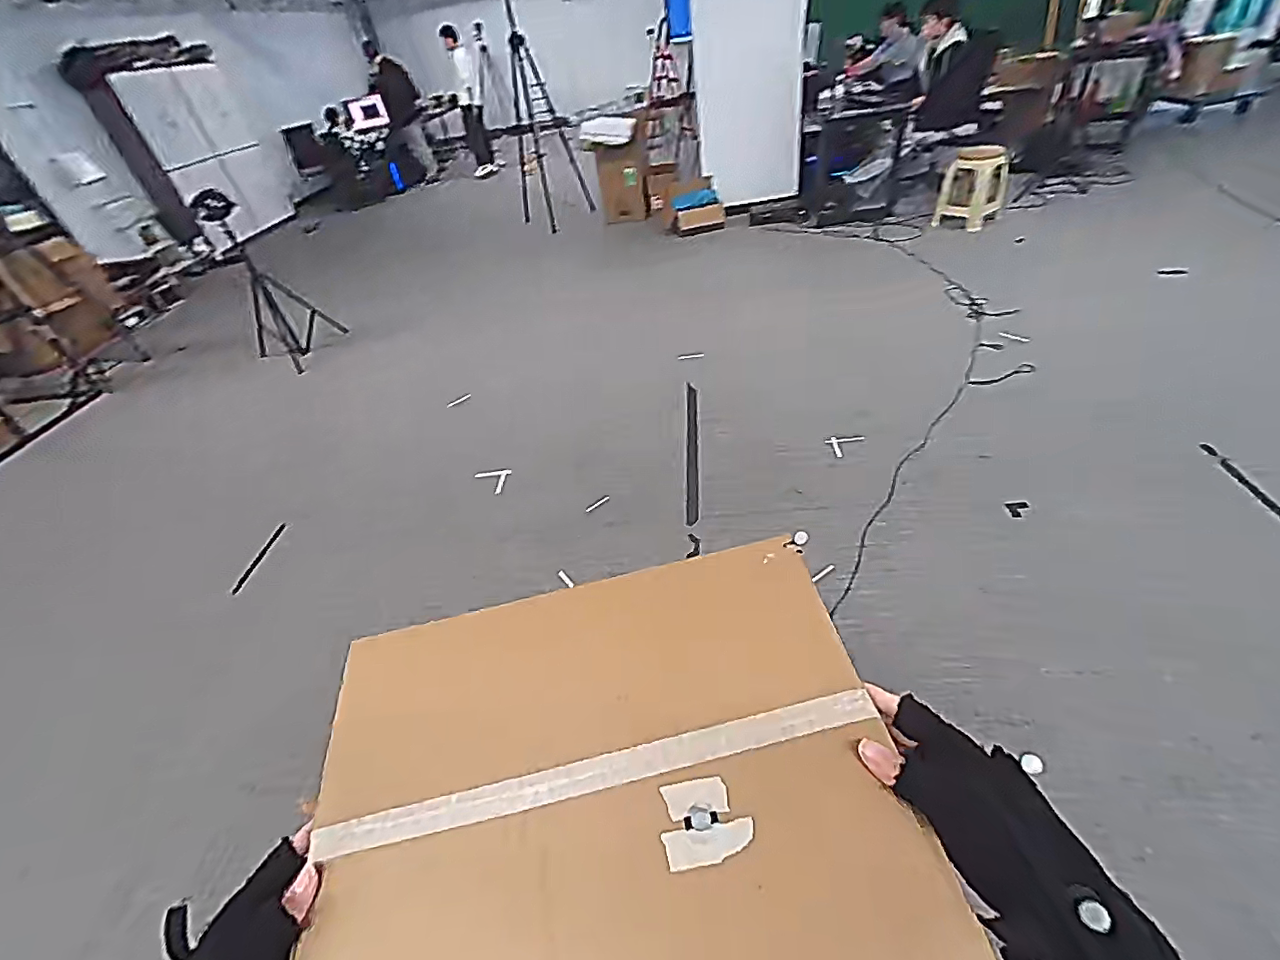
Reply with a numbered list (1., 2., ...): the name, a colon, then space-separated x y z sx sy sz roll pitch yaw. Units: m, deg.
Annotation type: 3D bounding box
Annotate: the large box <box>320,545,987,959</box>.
1. large box: -0.004 0.313 0.504 0.408 0.320 0.320 -13 48 -2
